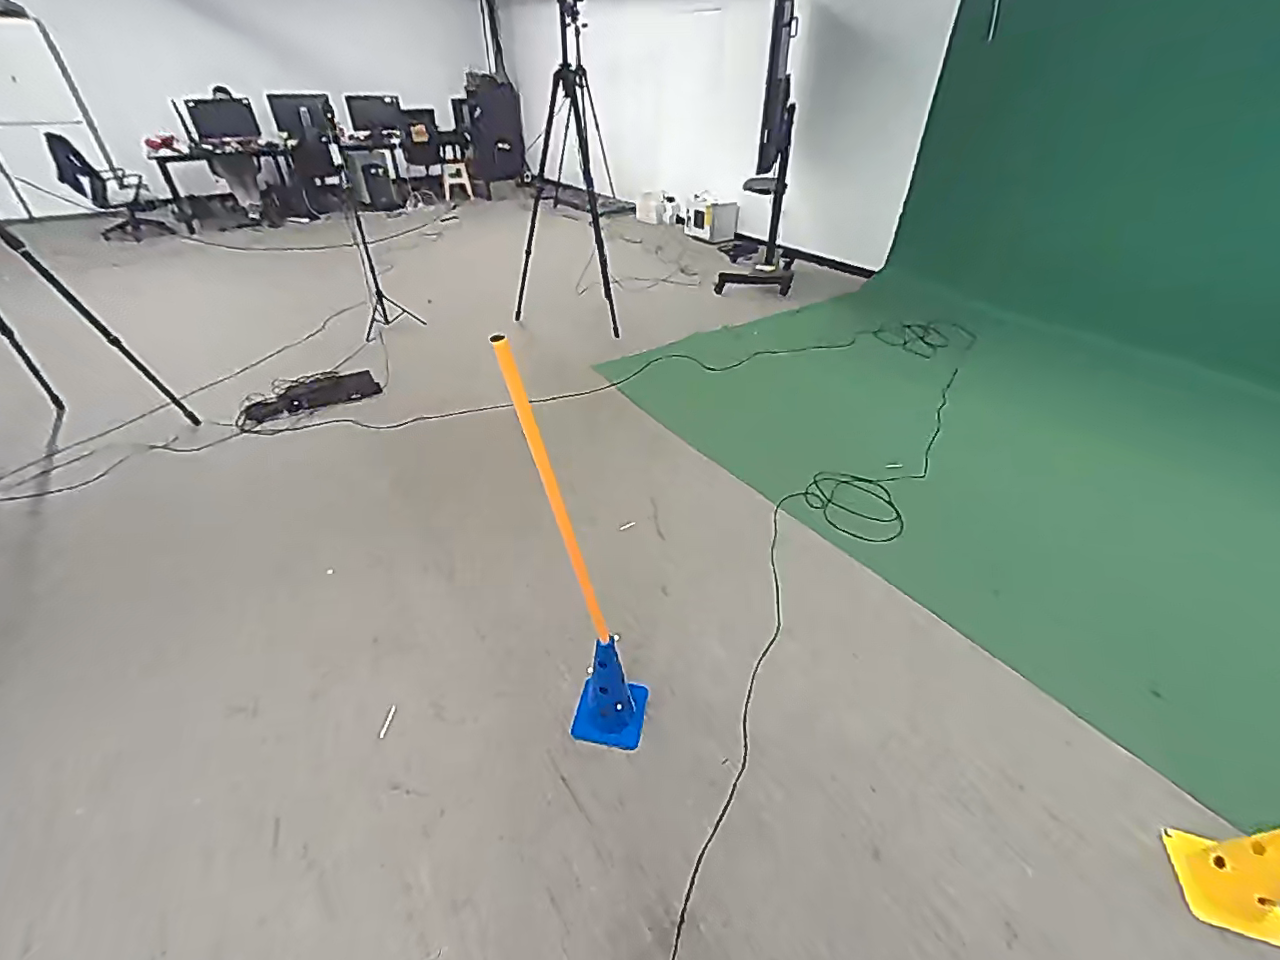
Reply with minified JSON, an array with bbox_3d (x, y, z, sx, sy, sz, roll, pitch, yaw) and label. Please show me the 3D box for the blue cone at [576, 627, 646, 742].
[{"bbox_3d":[-0.088,0.540,1.481,0.193,0.380,0.192,5,39,9],"label":"blue cone"}]
